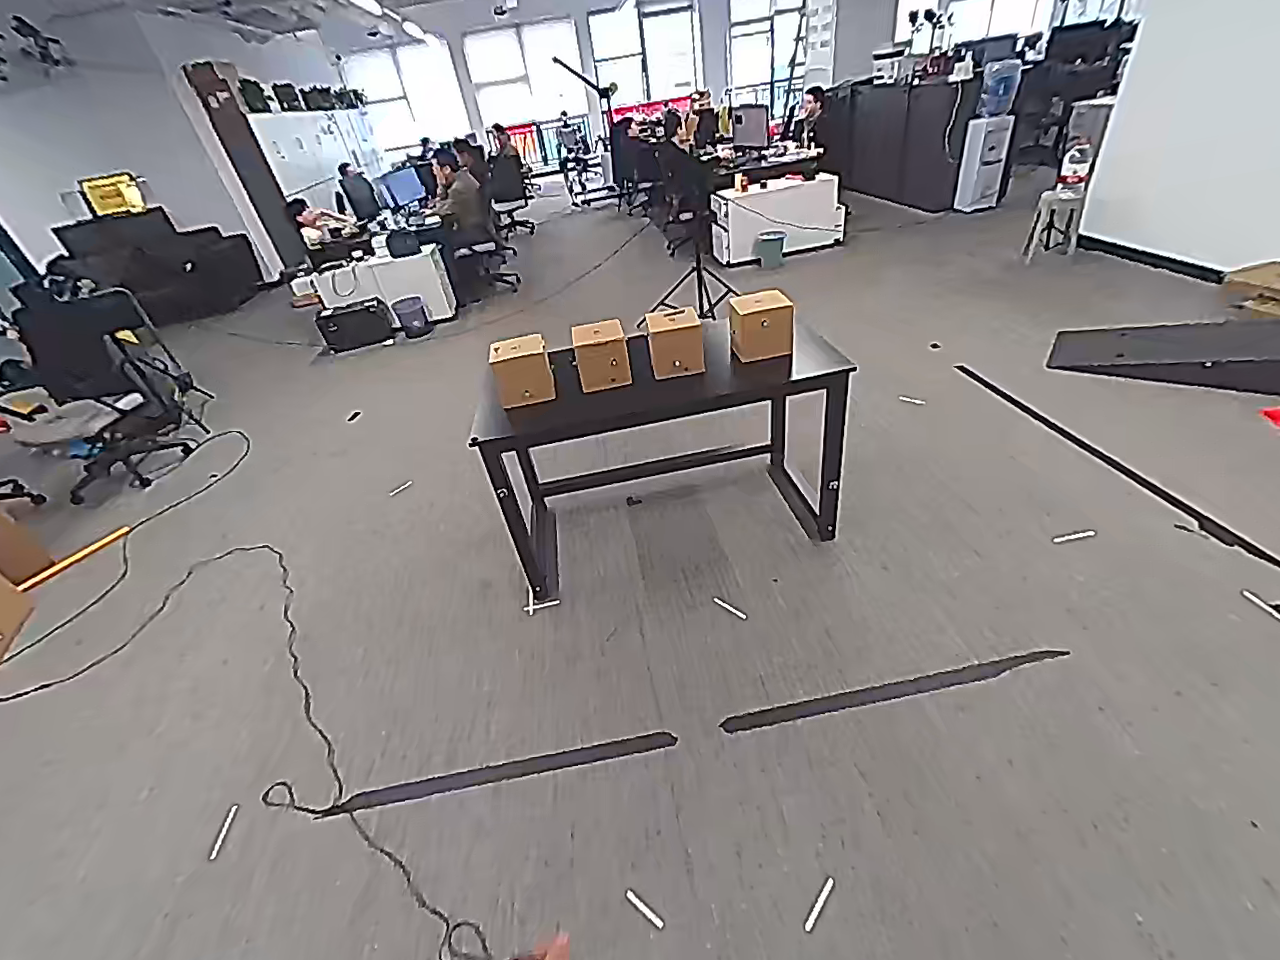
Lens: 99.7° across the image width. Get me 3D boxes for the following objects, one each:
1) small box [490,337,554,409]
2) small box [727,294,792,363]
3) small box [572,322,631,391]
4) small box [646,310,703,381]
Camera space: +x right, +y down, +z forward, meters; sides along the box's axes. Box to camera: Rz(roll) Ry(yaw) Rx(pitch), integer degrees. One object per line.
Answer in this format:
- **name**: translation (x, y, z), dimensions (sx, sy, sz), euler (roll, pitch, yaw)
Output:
- **small box**: translation (-0.386, -0.355, 1.794), dimensions (0.179, 0.176, 0.168), euler (-12, 35, -4)
- **small box**: translation (0.402, -0.506, 1.819), dimensions (0.179, 0.176, 0.168), euler (-10, 36, -1)
- **small box**: translation (-0.130, -0.409, 1.813), dimensions (0.168, 0.176, 0.179), euler (-11, 35, -3)
- **small box**: translation (0.116, -0.451, 1.810), dimensions (0.168, 0.176, 0.179), euler (-9, 36, 1)
